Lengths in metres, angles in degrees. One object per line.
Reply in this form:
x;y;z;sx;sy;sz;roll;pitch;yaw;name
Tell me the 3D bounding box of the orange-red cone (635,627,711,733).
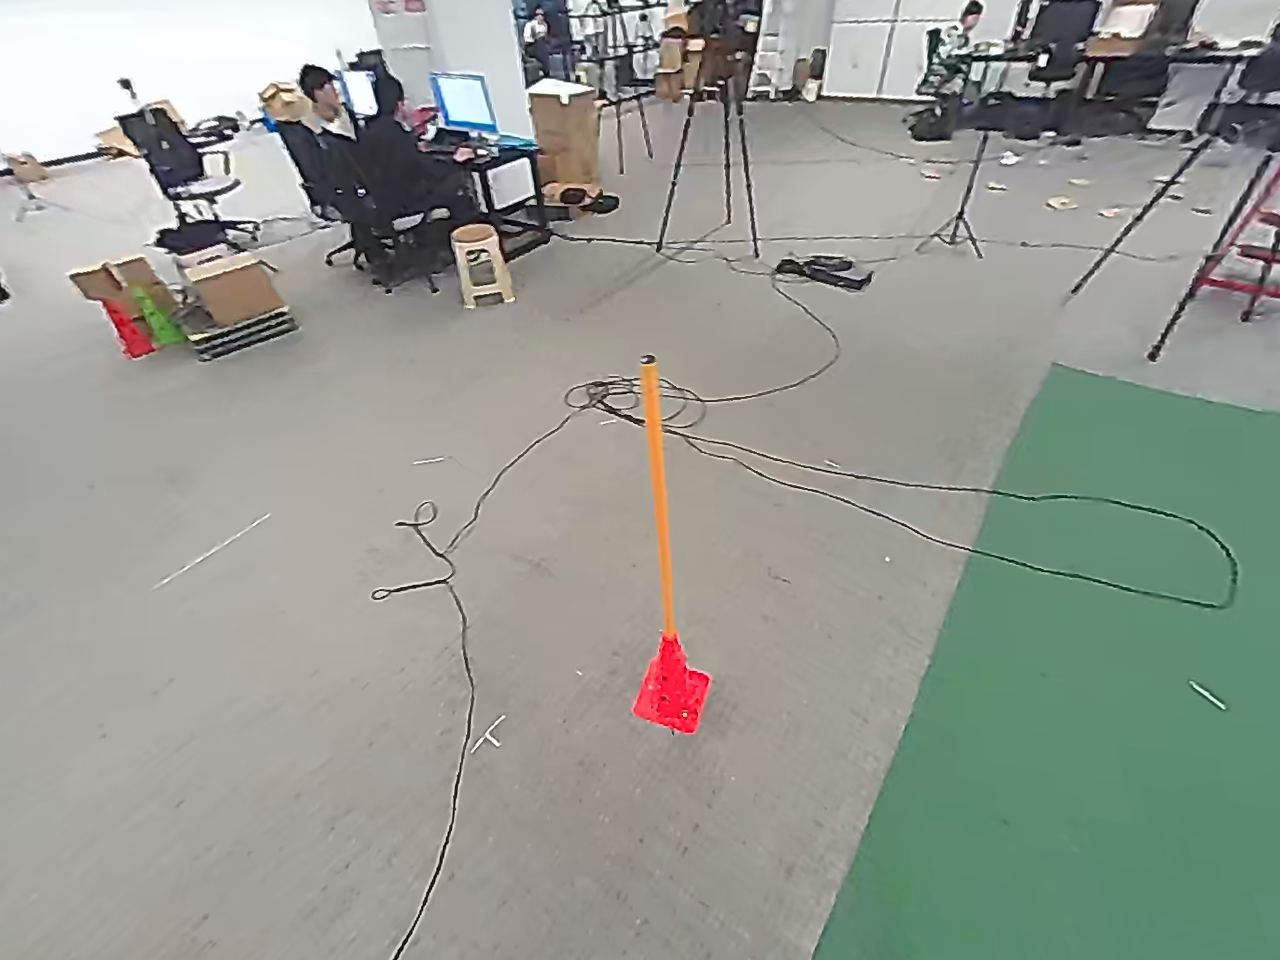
0.095;0.535;1.557;0.198;0.360;0.199;13;45;18;orange-red cone
